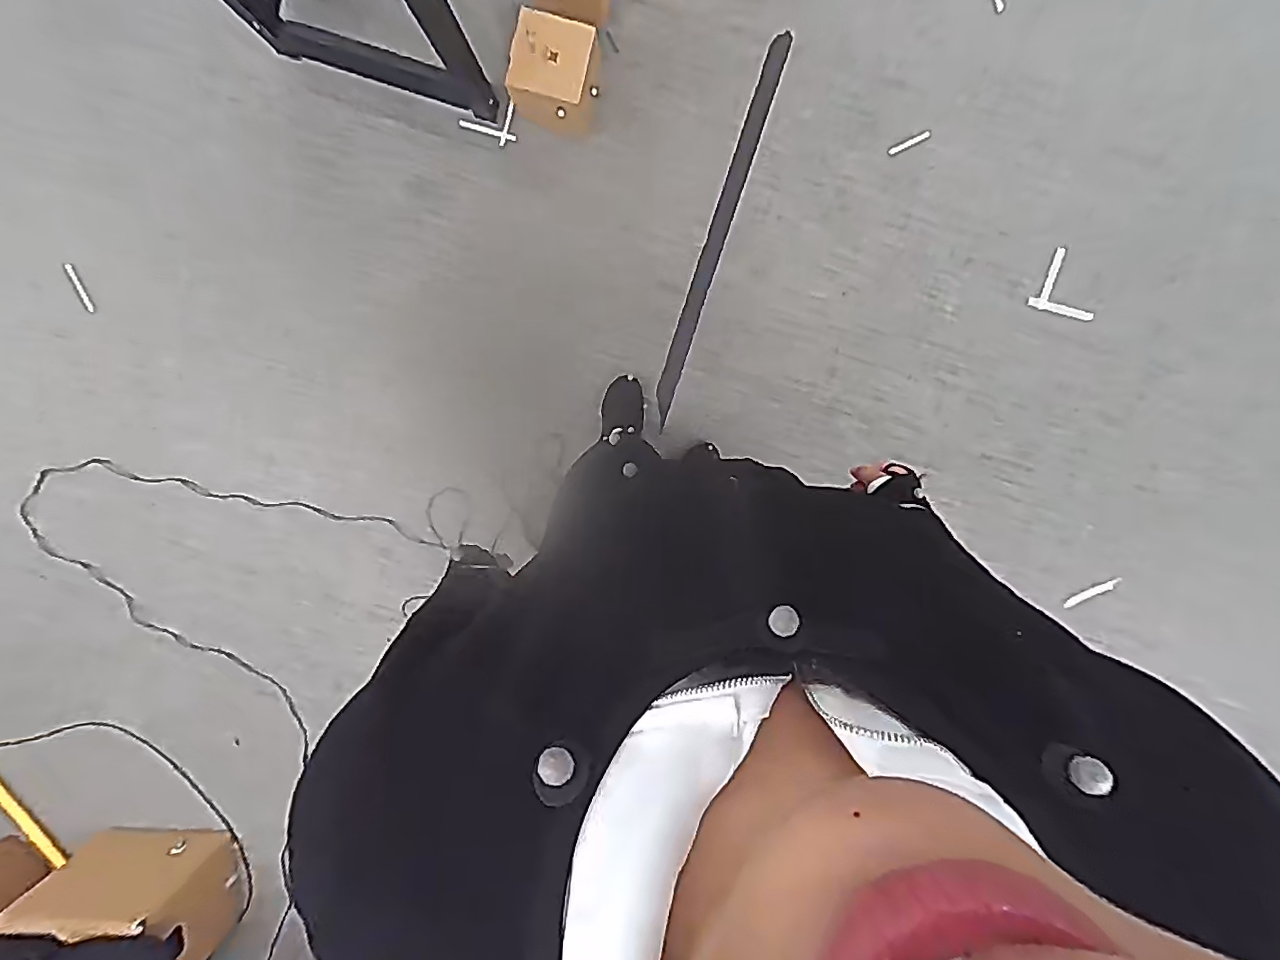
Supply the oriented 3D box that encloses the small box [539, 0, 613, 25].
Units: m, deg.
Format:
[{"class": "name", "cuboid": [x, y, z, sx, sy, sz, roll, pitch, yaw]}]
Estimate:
[{"class": "small box", "cuboid": [-0.148, -1.213, 1.254, 0.179, 0.176, 0.168, 16, 99, -2]}]
